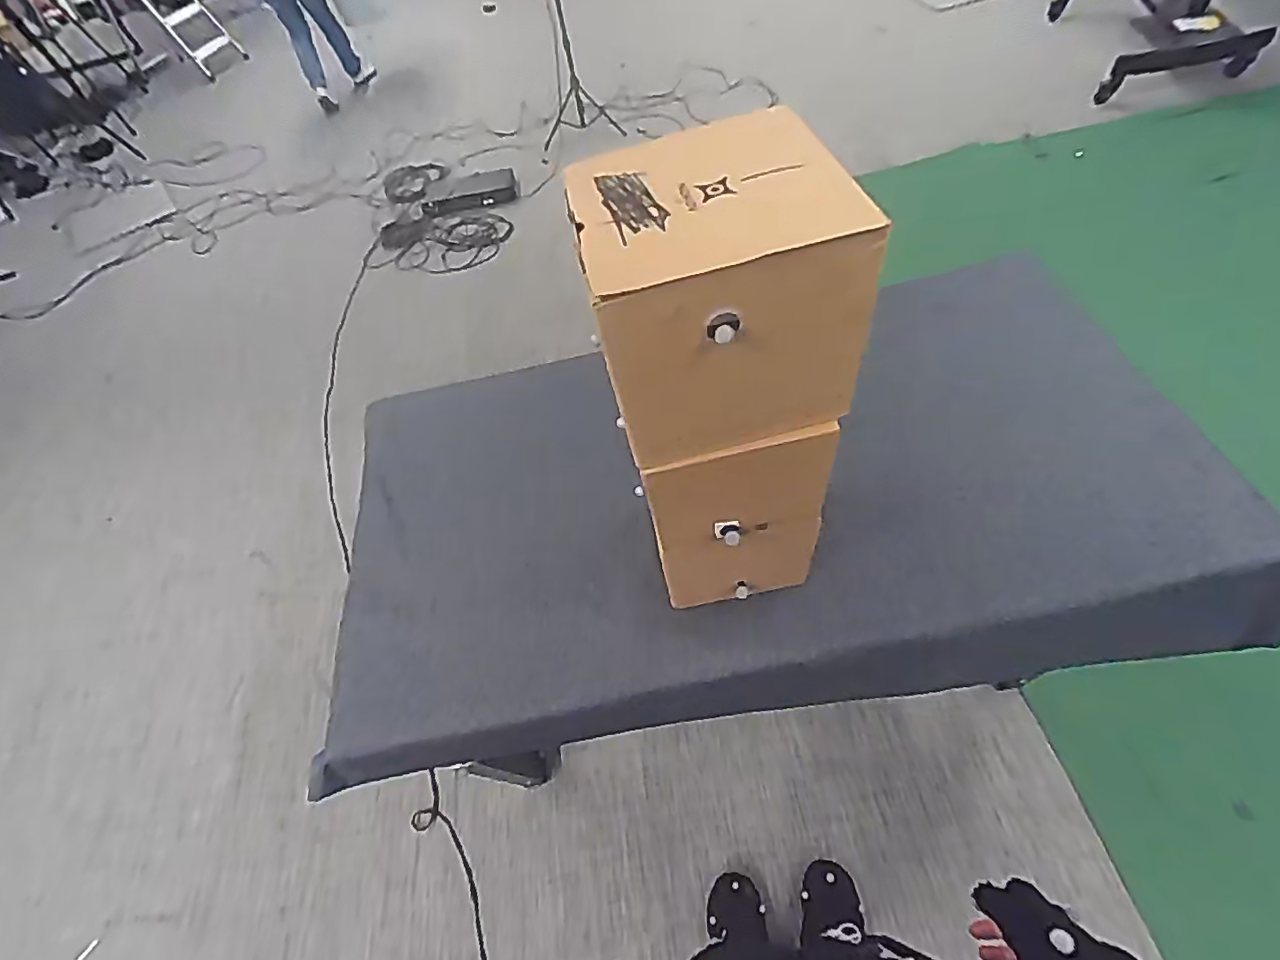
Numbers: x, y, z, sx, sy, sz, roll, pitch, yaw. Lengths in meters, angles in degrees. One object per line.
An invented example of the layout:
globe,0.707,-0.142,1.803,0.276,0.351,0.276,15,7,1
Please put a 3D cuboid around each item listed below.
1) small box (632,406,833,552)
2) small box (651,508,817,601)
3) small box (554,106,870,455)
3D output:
small box,0.077,-0.051,0.549,0.168,0.176,0.179,-13,57,4
small box,0.103,0.036,0.683,0.179,0.176,0.168,-12,56,2
small box,0.047,-0.141,0.414,0.179,0.176,0.168,-14,56,2
